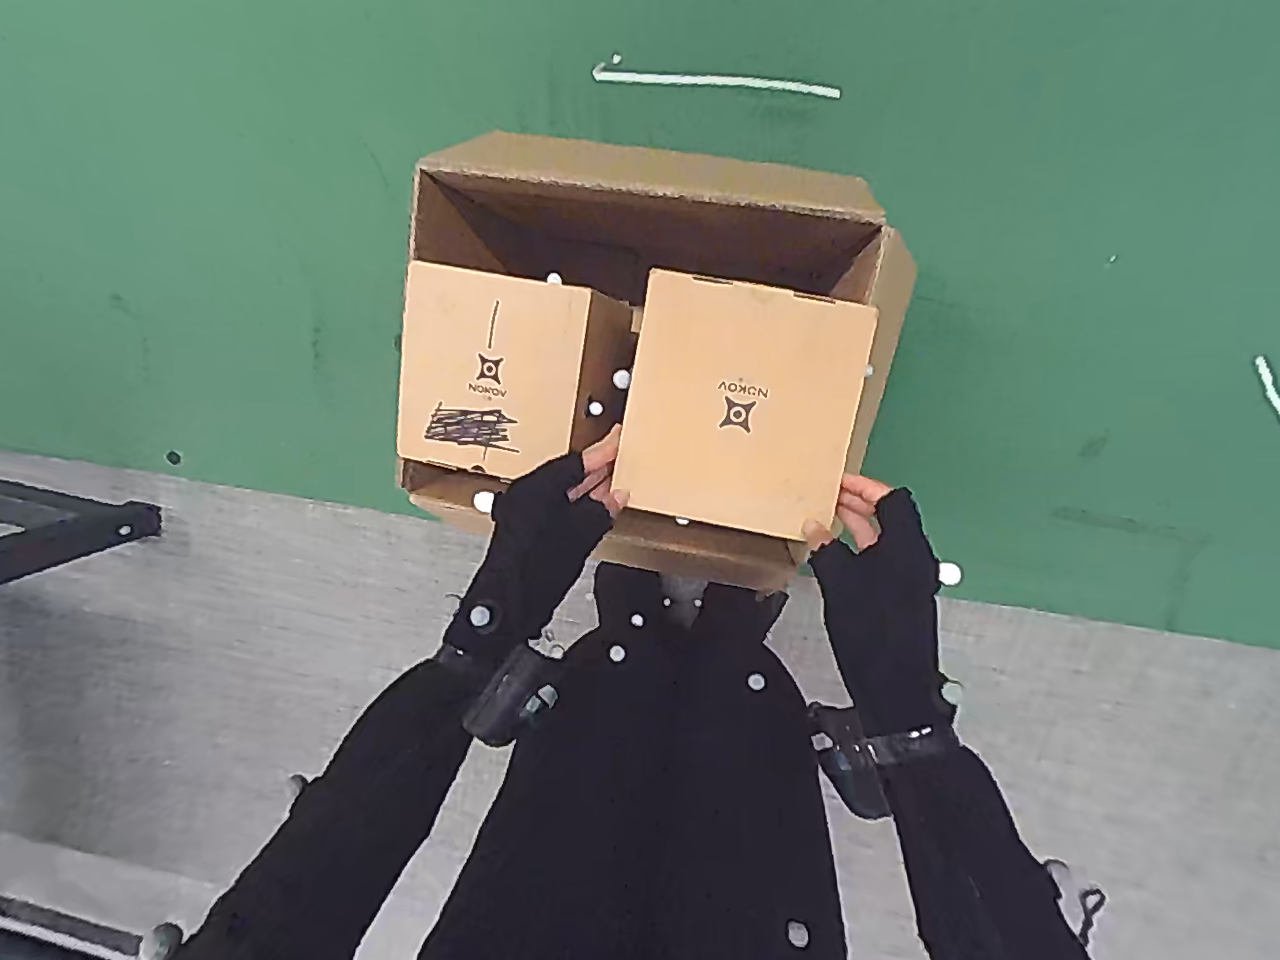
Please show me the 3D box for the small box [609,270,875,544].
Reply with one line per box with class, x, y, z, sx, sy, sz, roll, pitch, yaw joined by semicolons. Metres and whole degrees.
small box;0.078;-0.058;0.472;0.168;0.176;0.179;11;94;4
